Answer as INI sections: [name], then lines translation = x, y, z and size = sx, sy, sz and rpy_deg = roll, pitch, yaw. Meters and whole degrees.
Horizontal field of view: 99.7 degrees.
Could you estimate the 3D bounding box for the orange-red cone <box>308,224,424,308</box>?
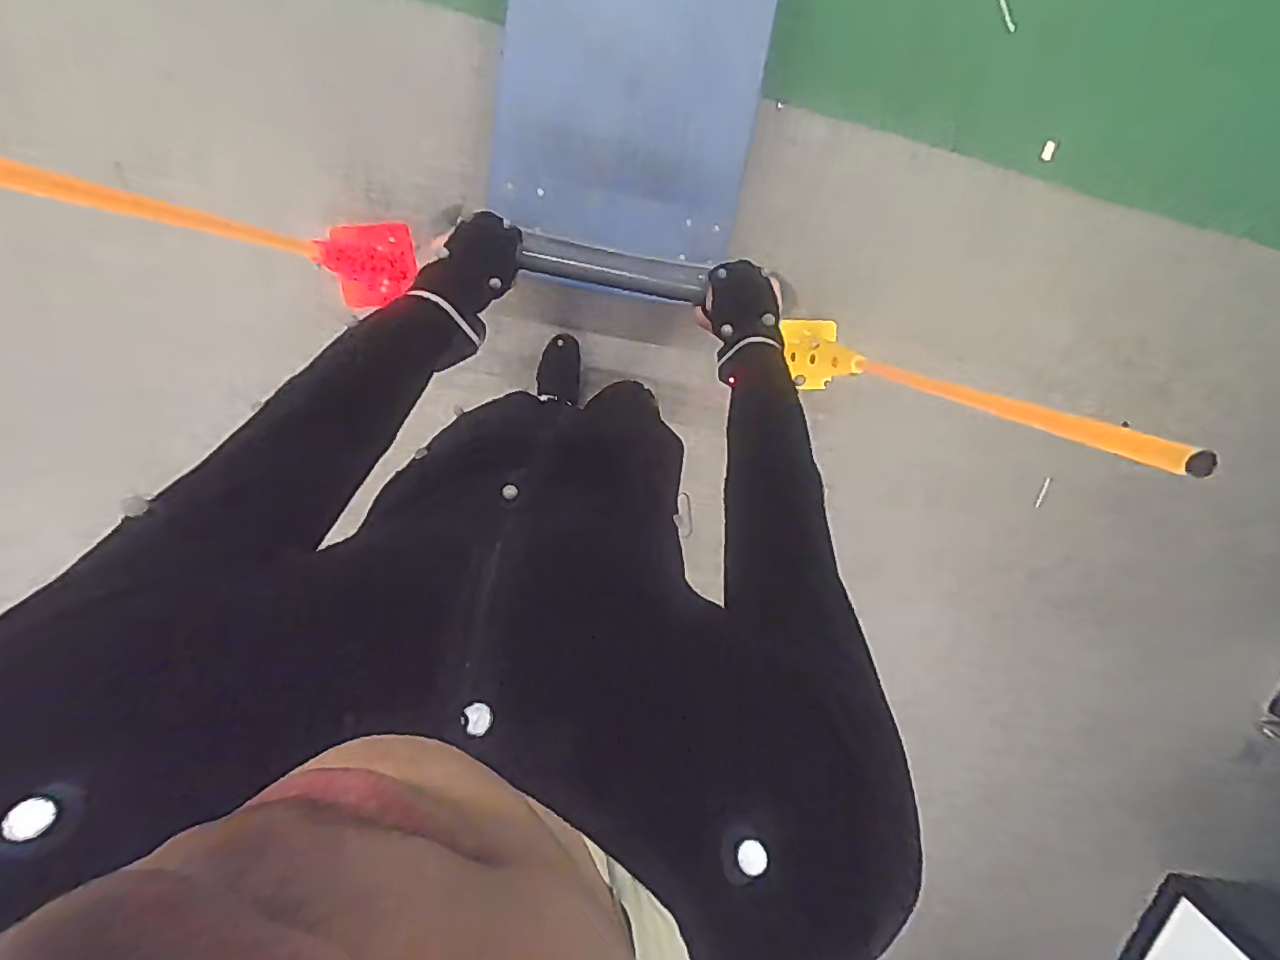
[orange-red cone]
translation = -0.655, -0.504, 1.234
size = 0.199, 0.360, 0.198
rpy_deg = -4, 107, -3
